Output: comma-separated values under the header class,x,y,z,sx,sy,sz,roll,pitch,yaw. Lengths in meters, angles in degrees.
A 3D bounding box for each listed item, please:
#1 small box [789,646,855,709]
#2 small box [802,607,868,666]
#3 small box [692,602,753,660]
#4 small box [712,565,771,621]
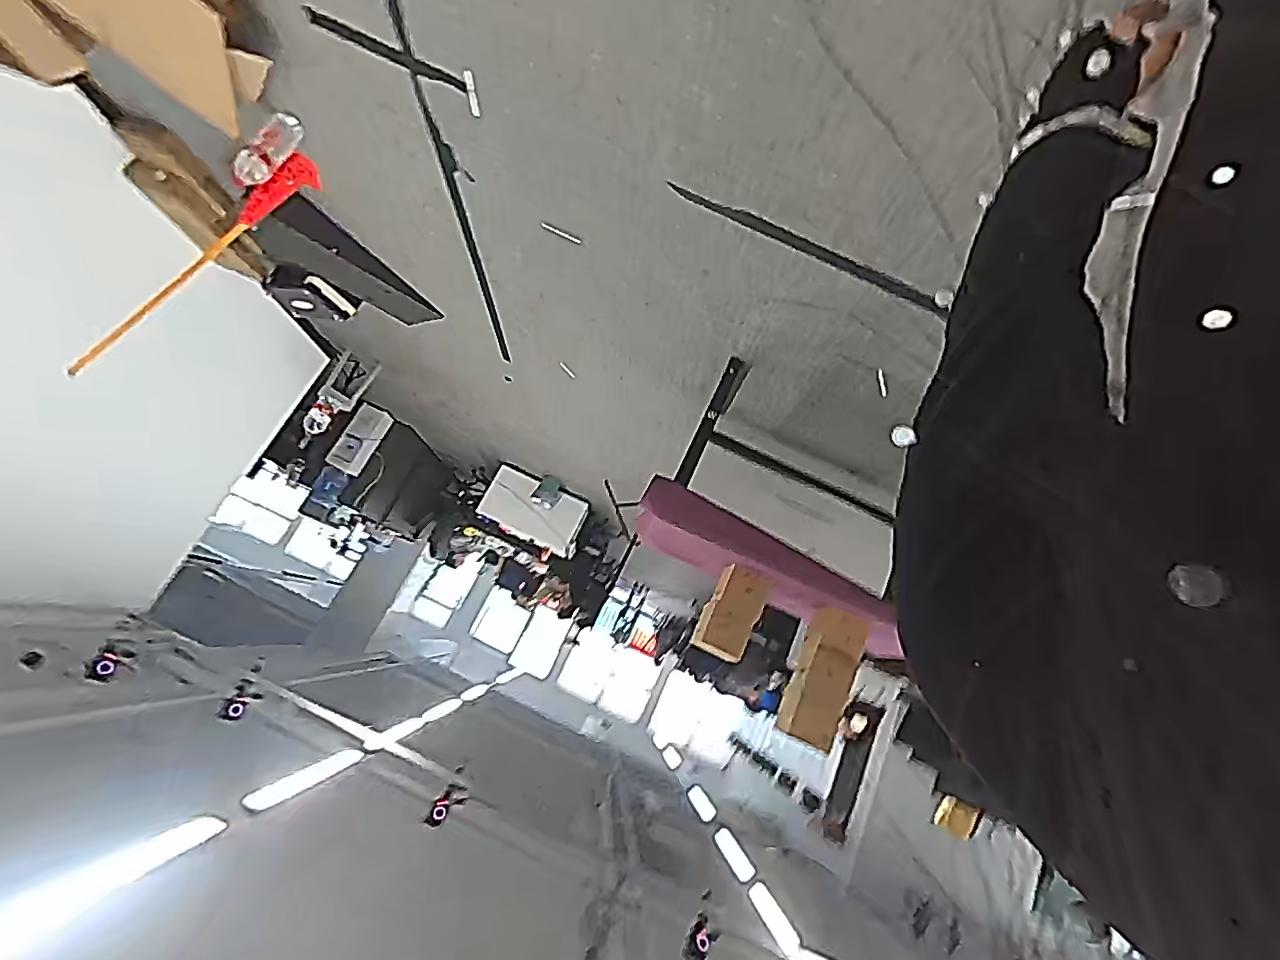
class,x,y,z,sx,sy,sz,roll,pitch,yaw
small box,0.686,0.735,2.027,0.168,0.176,0.179,24,163,7
small box,0.757,0.601,2.093,0.168,0.176,0.179,25,164,3
small box,0.322,0.582,2.102,0.168,0.176,0.179,27,164,1
small box,0.402,0.446,2.143,0.168,0.176,0.179,26,164,2
